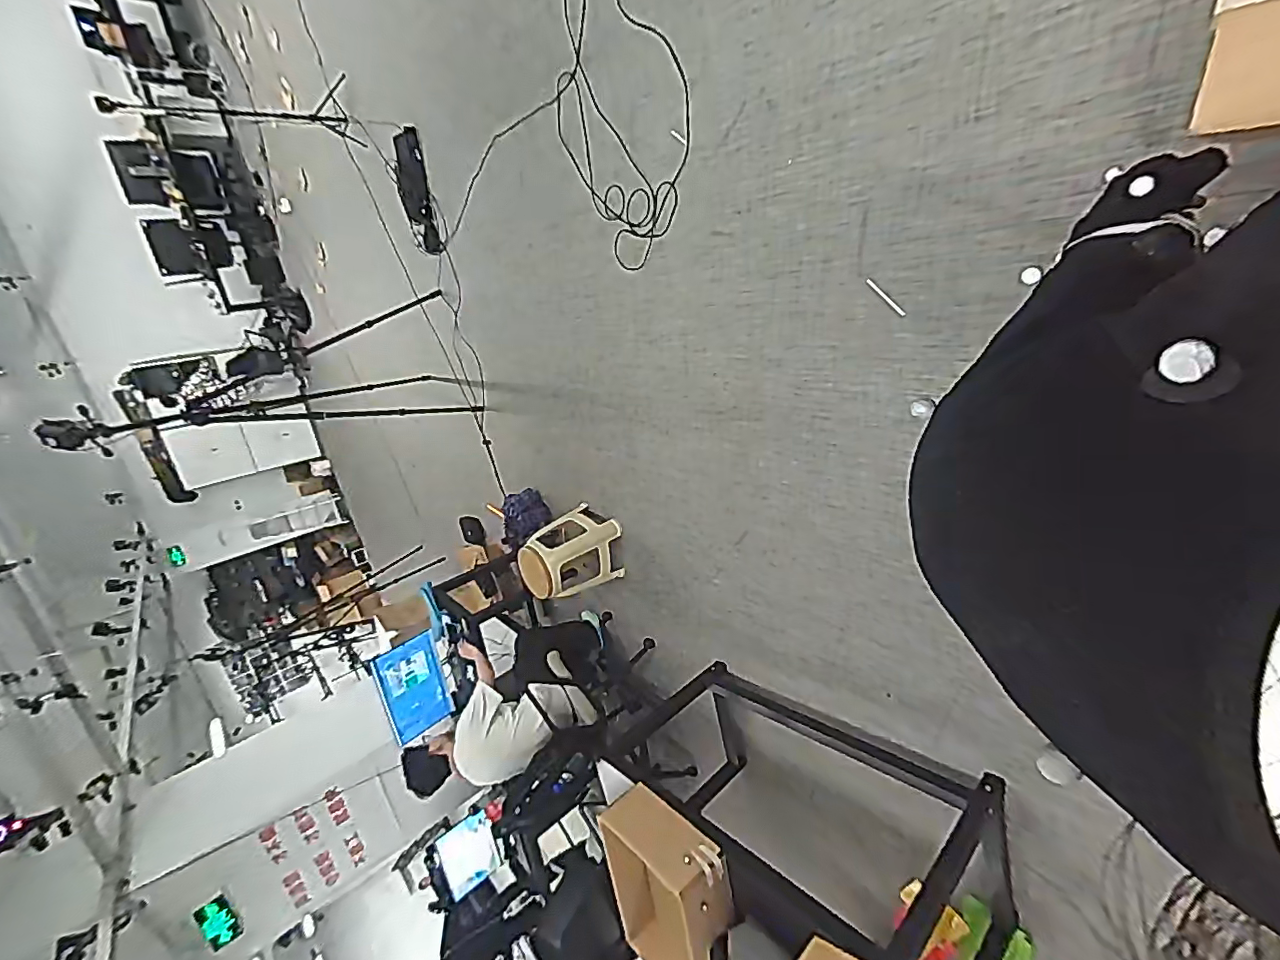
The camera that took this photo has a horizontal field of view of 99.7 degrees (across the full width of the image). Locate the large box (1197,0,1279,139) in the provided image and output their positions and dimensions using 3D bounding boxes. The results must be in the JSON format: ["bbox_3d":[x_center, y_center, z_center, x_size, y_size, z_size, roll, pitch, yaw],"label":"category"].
[{"bbox_3d":[1.024,-0.645,0.667,0.408,0.320,0.320,20,125,45],"label":"large box"}]
